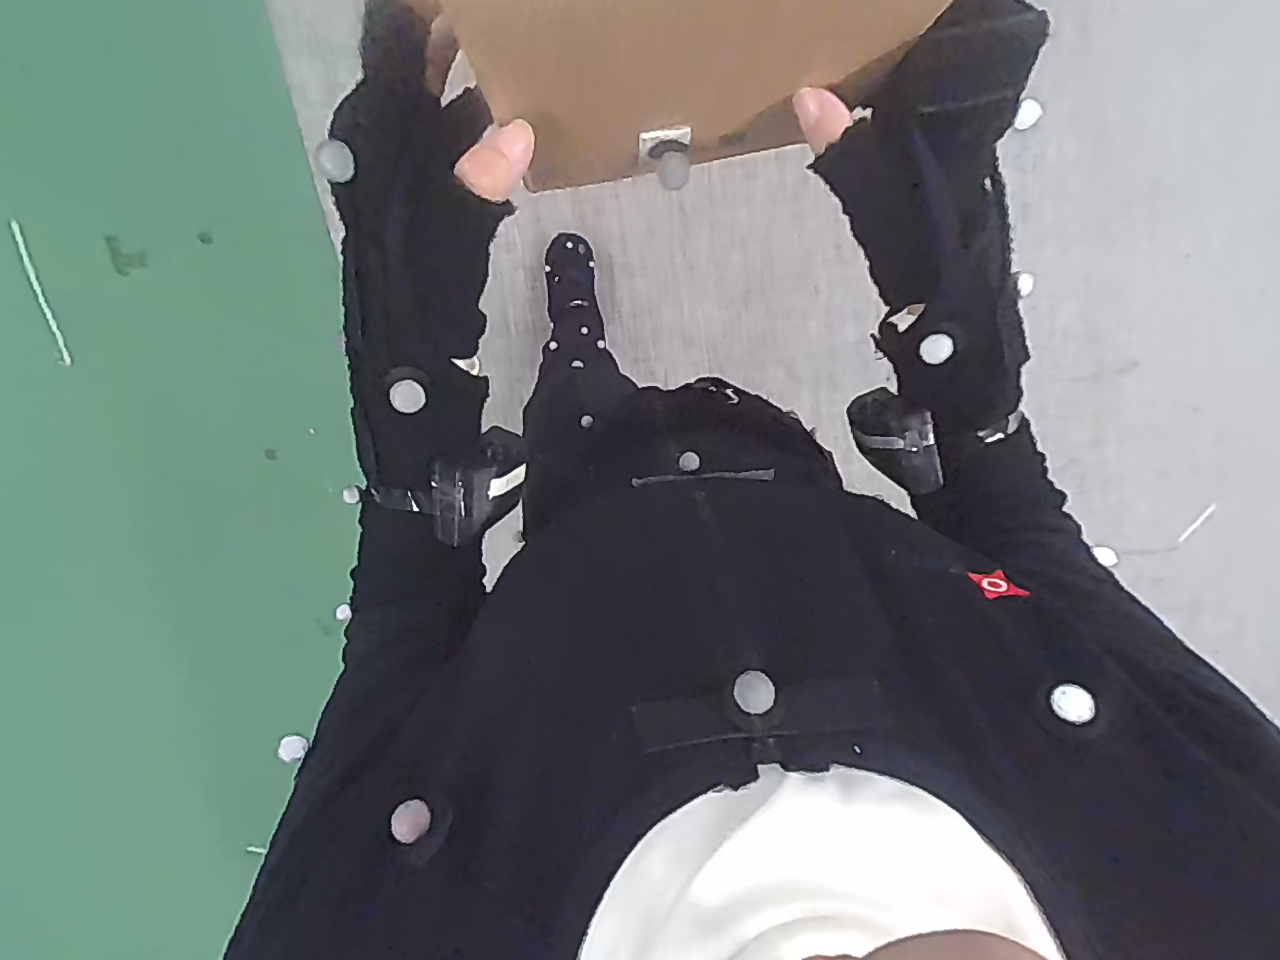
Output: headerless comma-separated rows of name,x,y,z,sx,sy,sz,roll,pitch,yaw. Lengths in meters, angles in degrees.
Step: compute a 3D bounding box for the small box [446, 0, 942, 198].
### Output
small box,0.007,-0.235,0.197,0.168,0.176,0.179,-12,102,2
